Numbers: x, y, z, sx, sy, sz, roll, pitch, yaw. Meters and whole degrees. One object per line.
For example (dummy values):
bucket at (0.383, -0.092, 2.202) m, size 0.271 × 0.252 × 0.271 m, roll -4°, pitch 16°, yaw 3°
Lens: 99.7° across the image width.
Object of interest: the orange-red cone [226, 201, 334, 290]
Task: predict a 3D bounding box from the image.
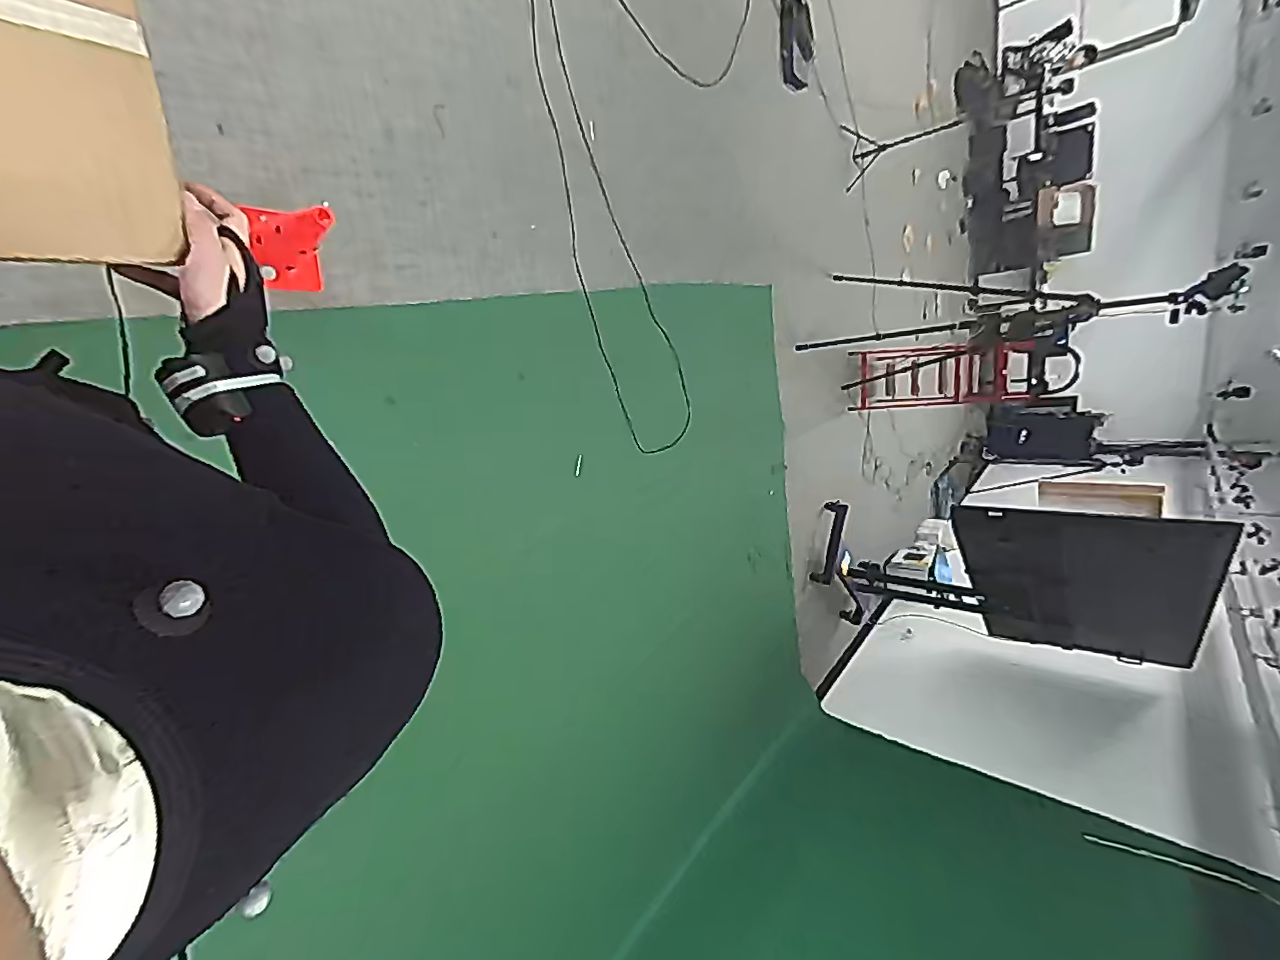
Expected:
orange-red cone at (-0.818, -0.591, 1.294) m, size 0.199 × 0.360 × 0.198 m, roll -14°, pitch 105°, yaw -48°
